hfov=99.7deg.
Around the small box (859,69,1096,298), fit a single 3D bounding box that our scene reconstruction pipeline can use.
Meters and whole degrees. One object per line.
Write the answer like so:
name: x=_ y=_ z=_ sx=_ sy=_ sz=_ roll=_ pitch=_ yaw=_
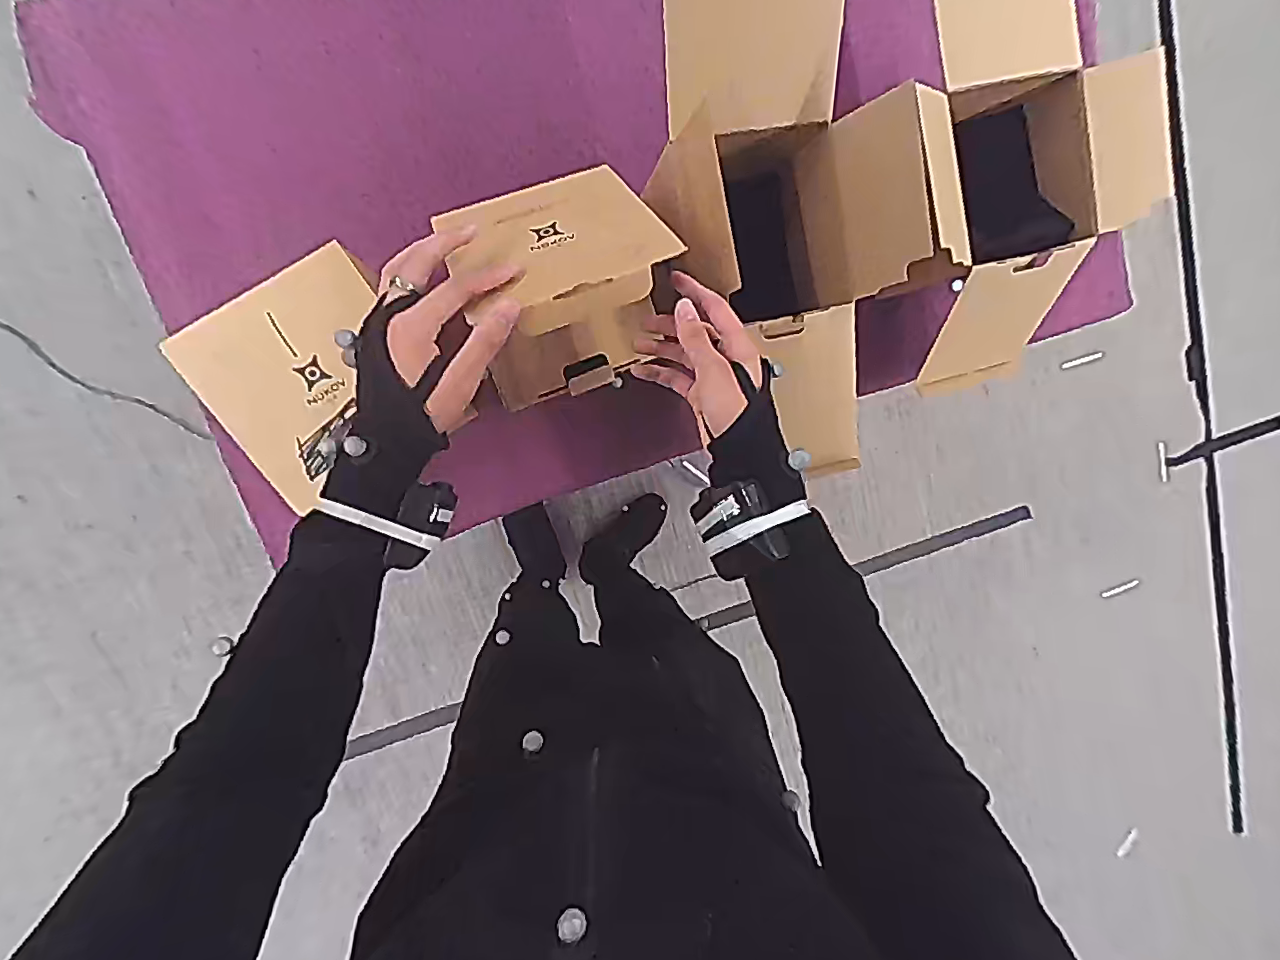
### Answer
small box: x=0.384 y=-0.334 z=0.639 sx=0.168 sy=0.176 sz=0.179 roll=-15 pitch=100 yaw=-8
